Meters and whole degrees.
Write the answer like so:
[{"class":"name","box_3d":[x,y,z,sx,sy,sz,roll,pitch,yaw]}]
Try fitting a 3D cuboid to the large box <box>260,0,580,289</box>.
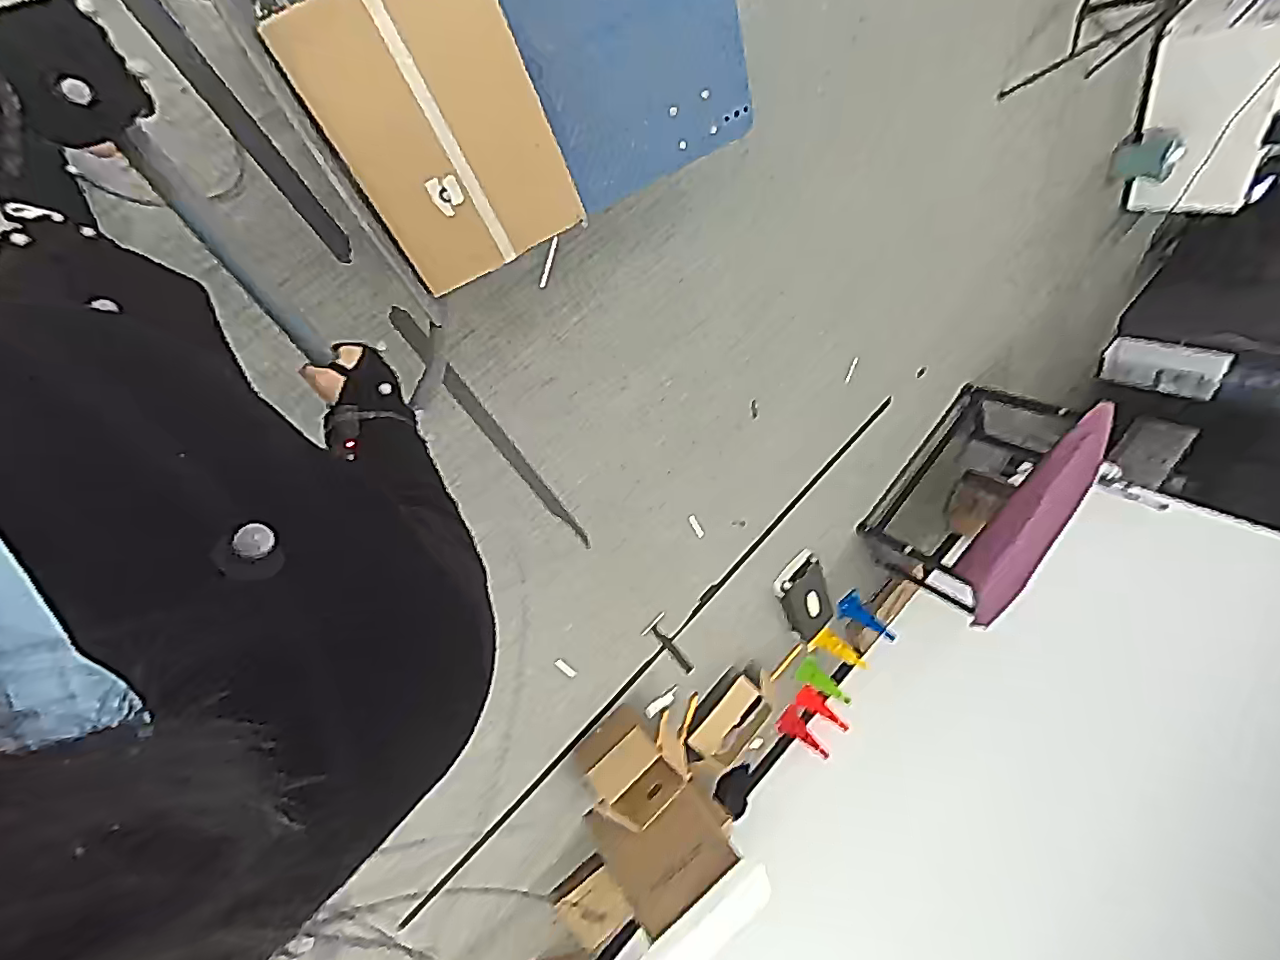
[{"class":"large box","box_3d":[-0.359,-0.633,0.963,0.320,0.320,0.408,-27,132,0]}]
